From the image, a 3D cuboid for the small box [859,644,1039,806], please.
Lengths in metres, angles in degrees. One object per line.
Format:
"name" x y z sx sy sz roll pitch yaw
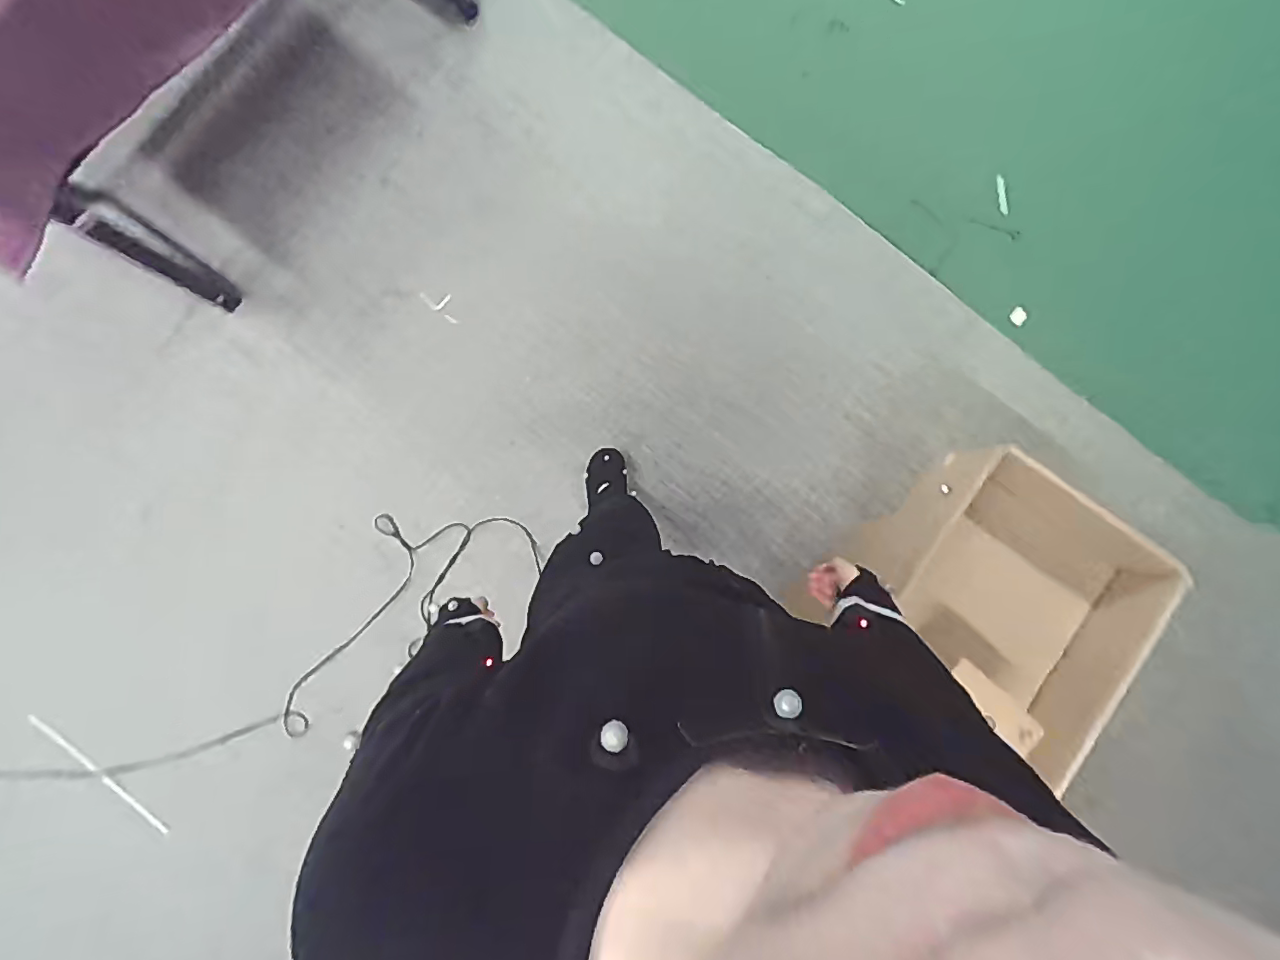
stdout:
"small box" 0.521 0.407 0.941 0.179 0.176 0.168 43 86 3
